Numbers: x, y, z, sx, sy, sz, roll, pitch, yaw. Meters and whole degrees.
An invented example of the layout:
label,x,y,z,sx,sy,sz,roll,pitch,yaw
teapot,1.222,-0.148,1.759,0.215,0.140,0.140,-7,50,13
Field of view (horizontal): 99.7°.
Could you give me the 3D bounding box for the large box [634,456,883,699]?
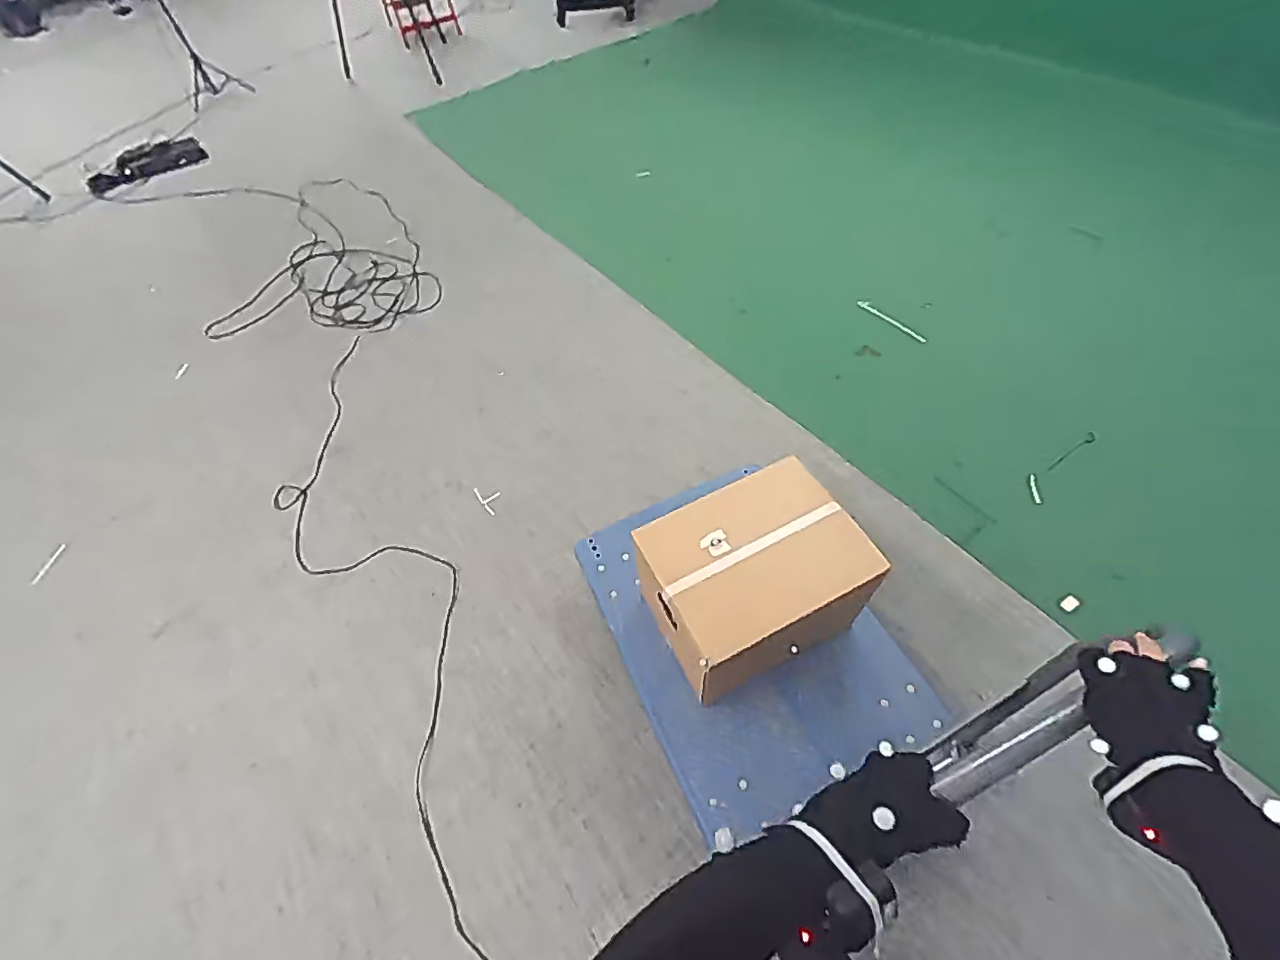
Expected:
label,x,y,z,sx,sy,sz,roll,pitch,yaw
large box,0.240,0.220,1.198,0.408,0.320,0.320,-25,57,-11
